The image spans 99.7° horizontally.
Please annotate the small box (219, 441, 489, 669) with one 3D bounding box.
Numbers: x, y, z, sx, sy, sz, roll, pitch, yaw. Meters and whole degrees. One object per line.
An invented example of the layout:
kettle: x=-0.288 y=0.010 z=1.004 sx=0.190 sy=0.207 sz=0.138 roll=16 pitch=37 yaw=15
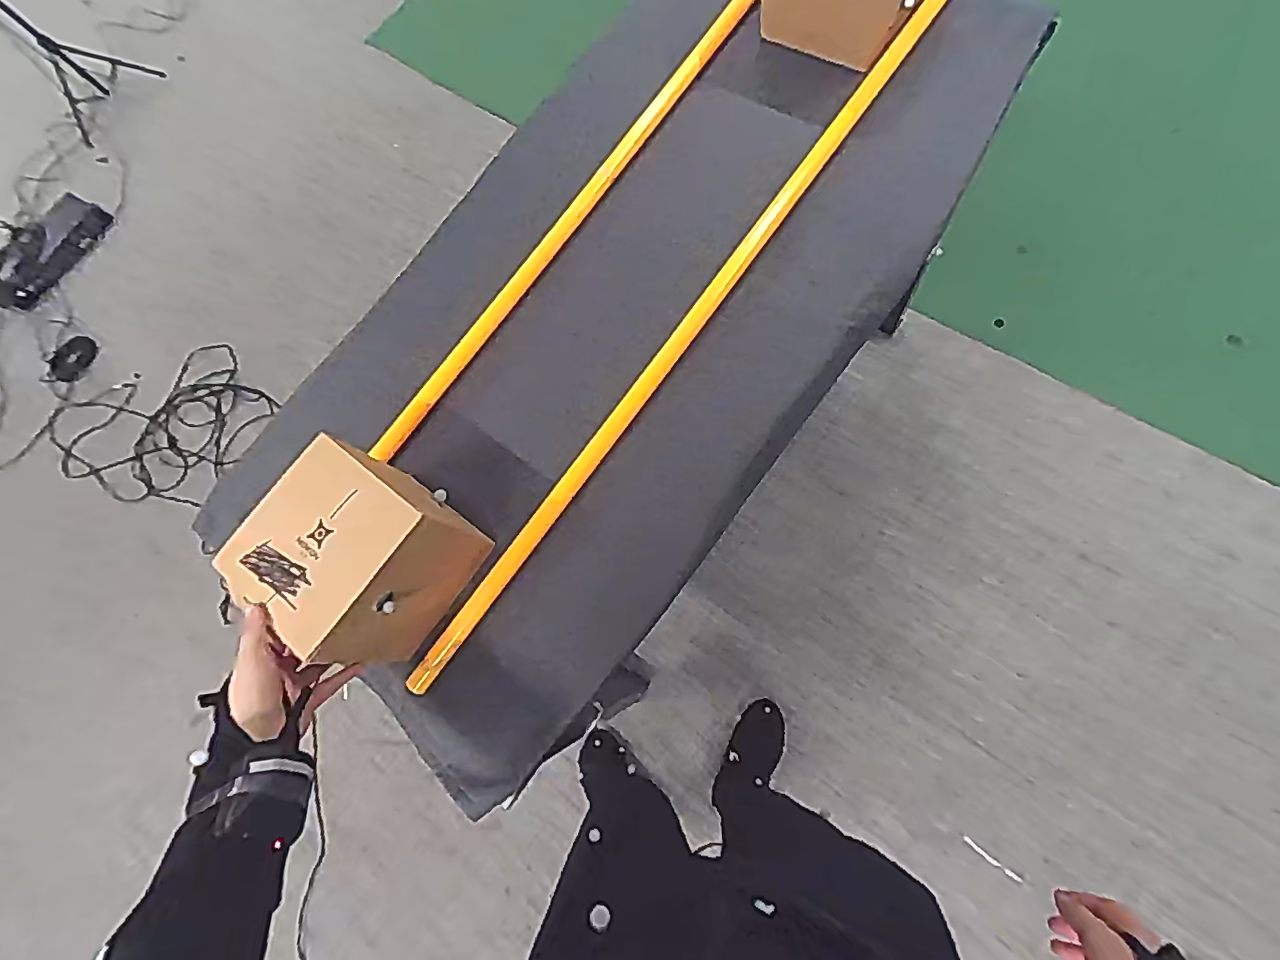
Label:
small box: x=-0.306 y=0.091 z=0.615 sx=0.168 sy=0.176 sz=0.179 roll=34 pitch=81 yaw=18
